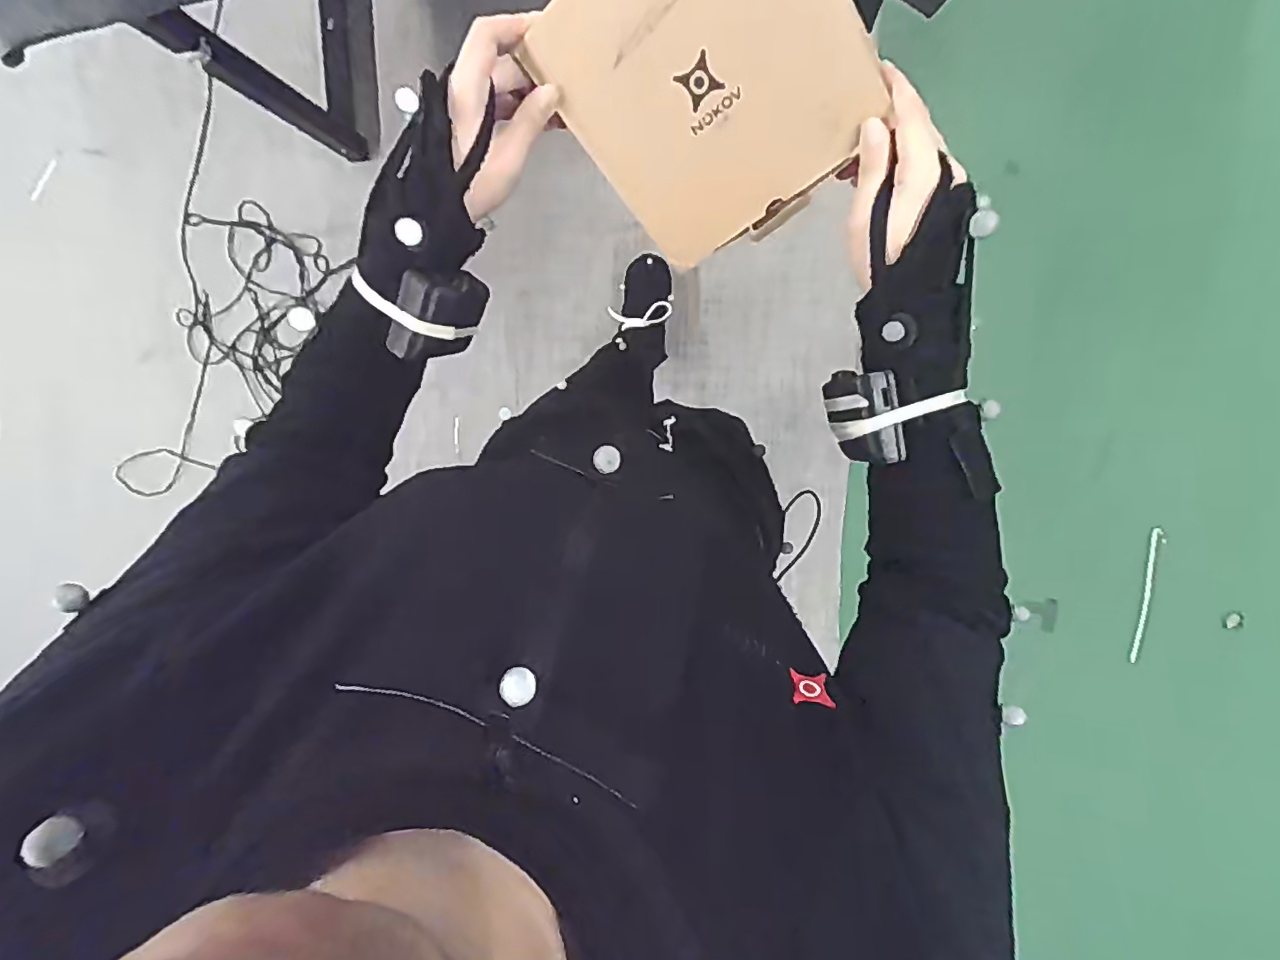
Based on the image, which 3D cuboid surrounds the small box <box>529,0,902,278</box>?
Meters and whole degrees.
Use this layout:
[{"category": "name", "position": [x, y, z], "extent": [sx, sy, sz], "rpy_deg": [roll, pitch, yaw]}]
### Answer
[{"category": "small box", "position": [0.061, -0.289, 0.380], "extent": [0.168, 0.176, 0.179], "rpy_deg": [-24, 123, 35]}]
